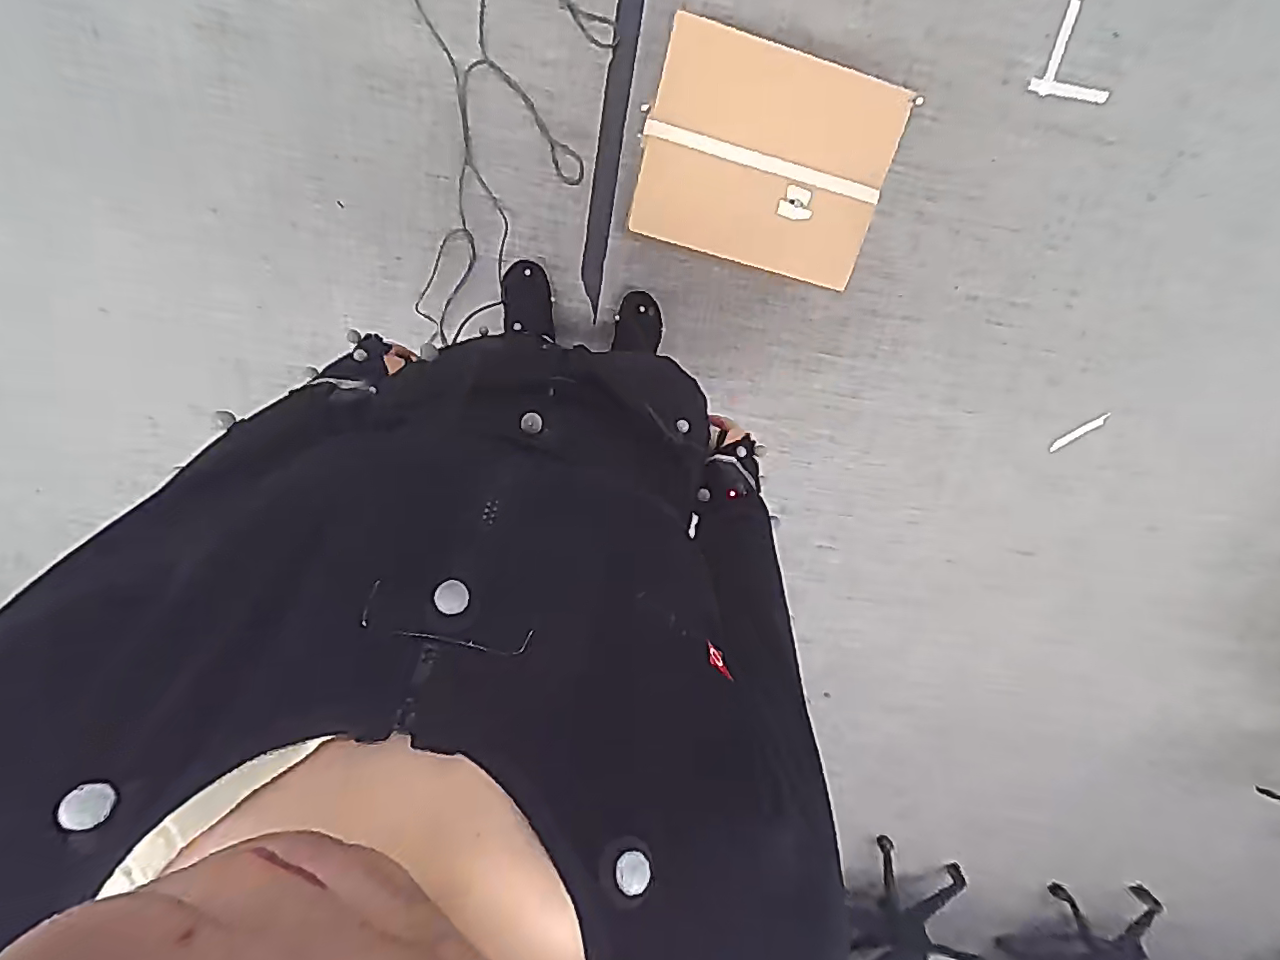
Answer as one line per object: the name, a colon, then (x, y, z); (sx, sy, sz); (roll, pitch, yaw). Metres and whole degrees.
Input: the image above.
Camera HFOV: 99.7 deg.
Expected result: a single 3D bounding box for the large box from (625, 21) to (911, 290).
large box: (0.200, -0.573, 1.029); (0.408, 0.320, 0.320); (12, 112, -8)
